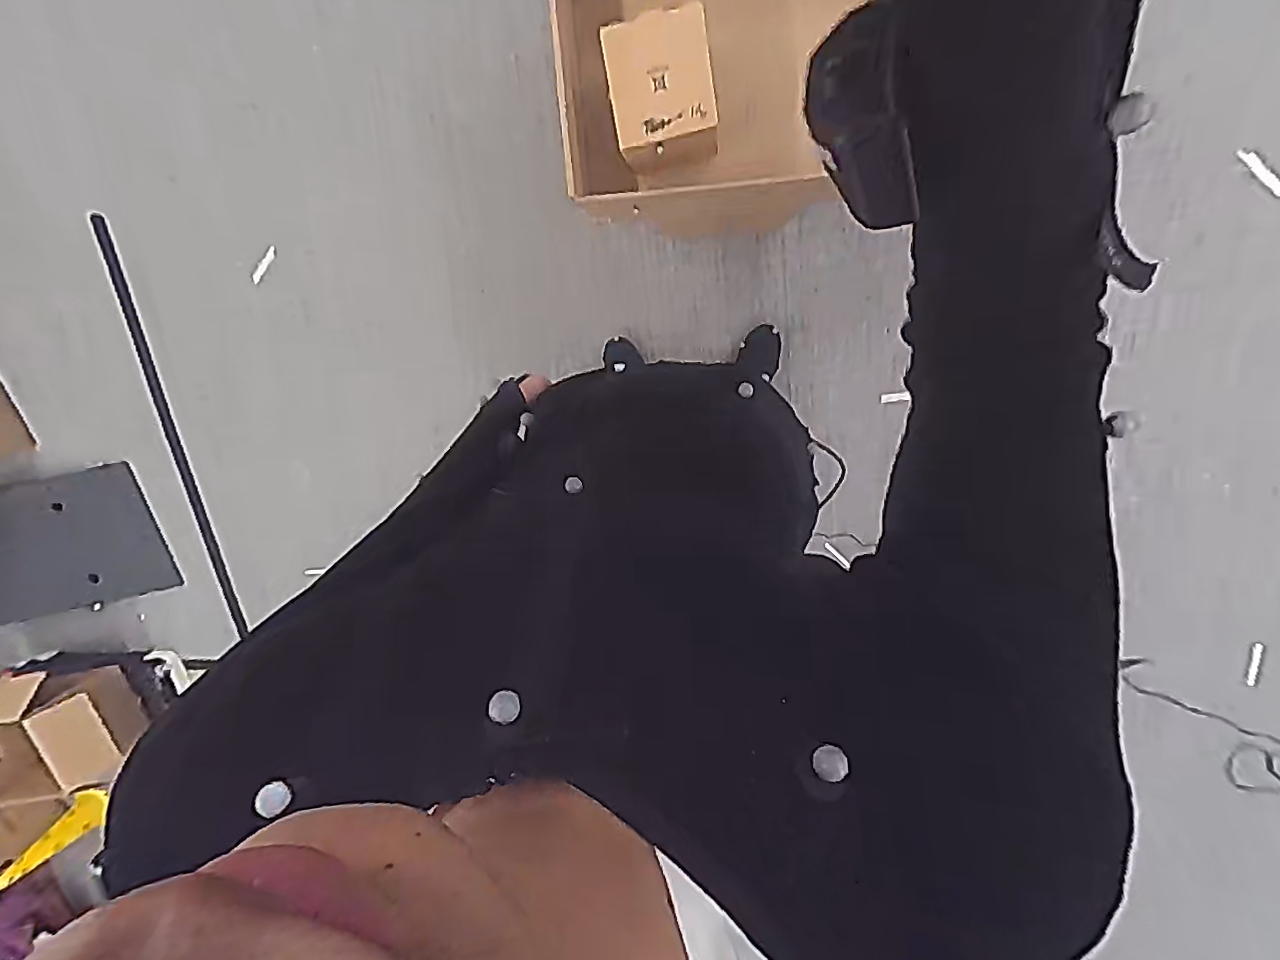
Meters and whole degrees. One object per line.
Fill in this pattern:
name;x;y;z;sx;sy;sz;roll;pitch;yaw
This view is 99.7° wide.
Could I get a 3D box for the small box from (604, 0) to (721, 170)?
small box;0.046;-0.663;0.927;0.168;0.176;0.179;-8;105;11
